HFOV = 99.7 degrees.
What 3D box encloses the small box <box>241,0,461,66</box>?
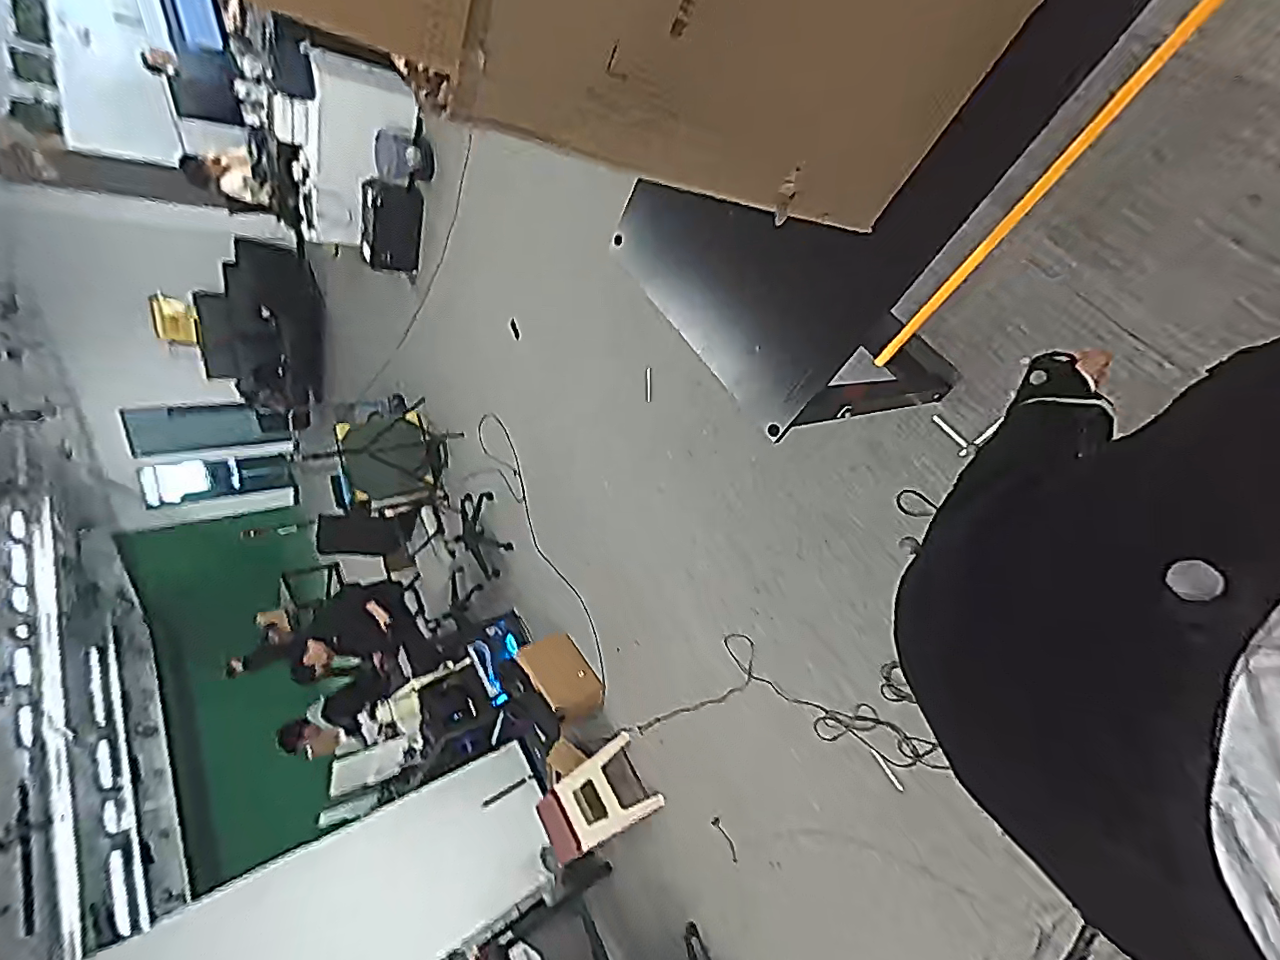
[{"bbox_3d":[-0.195,-0.358,0.280,0.179,0.176,0.168,50,131,25],"label":"small box"}]
